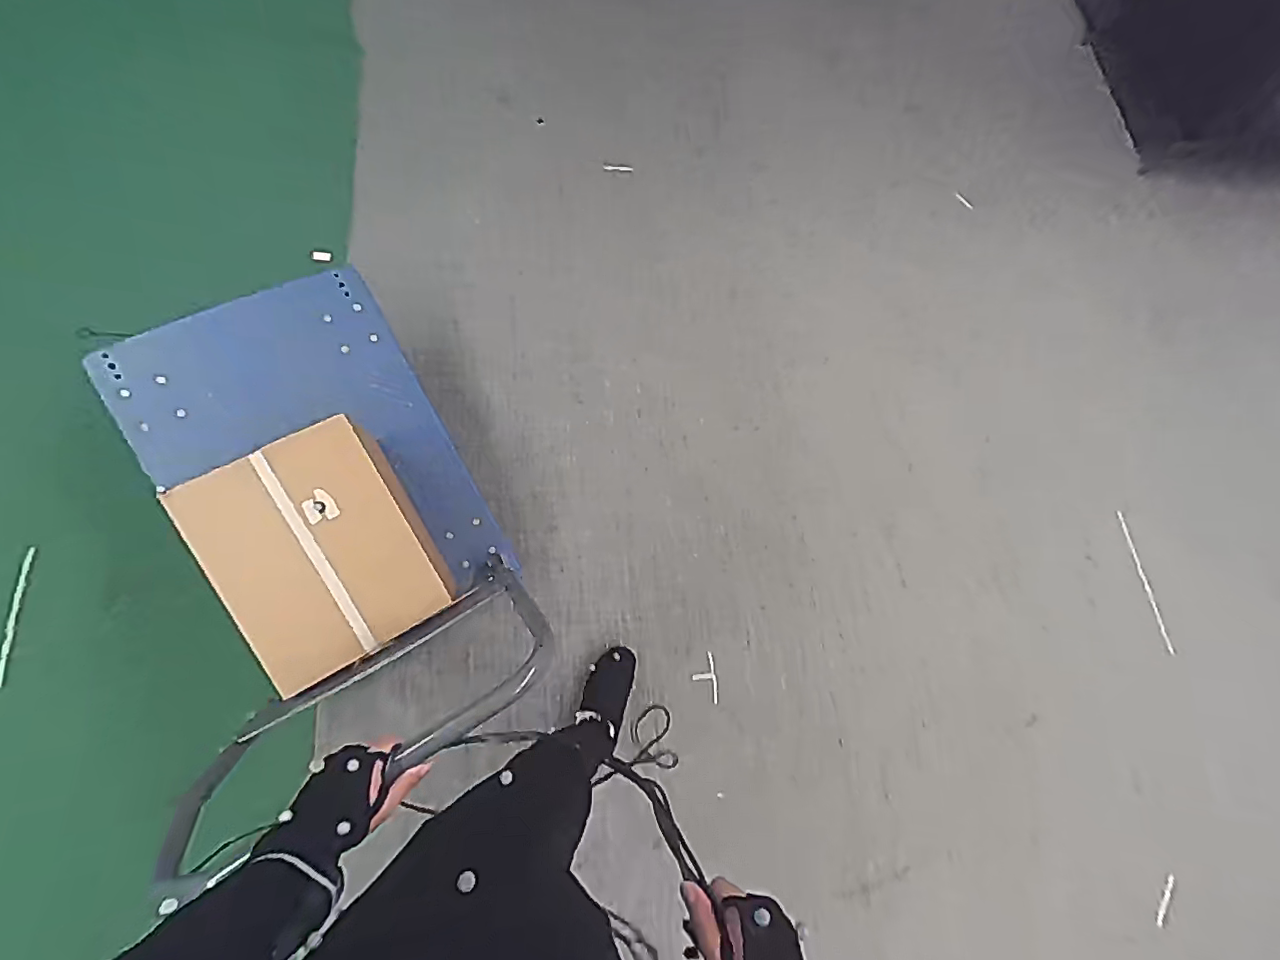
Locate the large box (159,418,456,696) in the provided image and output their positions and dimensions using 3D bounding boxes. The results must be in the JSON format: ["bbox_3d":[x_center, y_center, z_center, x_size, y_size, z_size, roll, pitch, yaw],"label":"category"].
[{"bbox_3d":[-0.616,0.142,1.092,0.320,0.320,0.408,-30,94,-18],"label":"large box"}]
